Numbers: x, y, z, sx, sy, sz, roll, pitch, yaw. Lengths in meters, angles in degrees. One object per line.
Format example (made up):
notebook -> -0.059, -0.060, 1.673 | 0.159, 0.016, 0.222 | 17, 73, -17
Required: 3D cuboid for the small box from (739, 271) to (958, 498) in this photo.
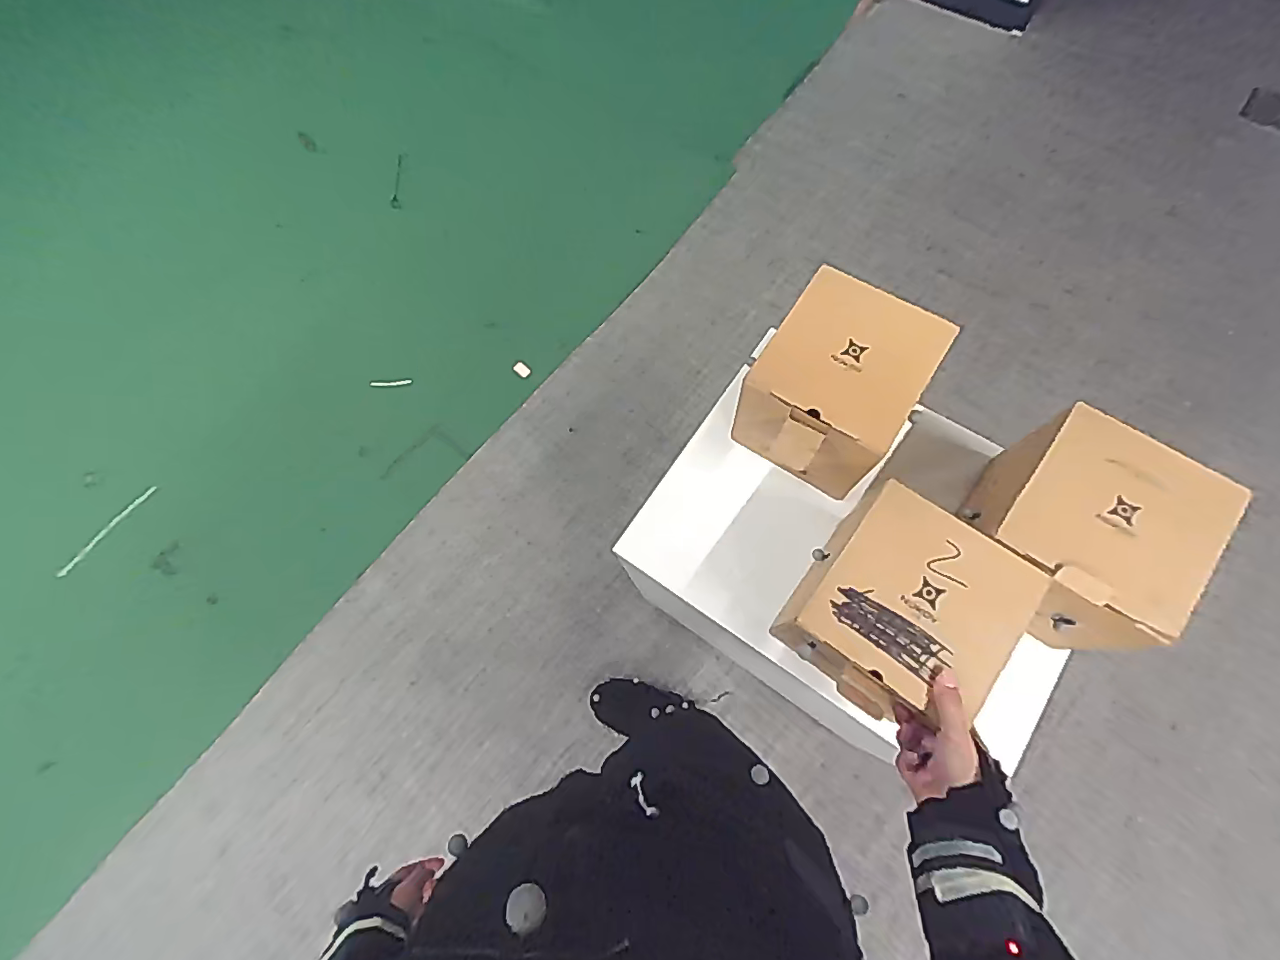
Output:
small box -> 0.233, -0.105, 0.653 | 0.168, 0.176, 0.179 | 32, 78, 13
